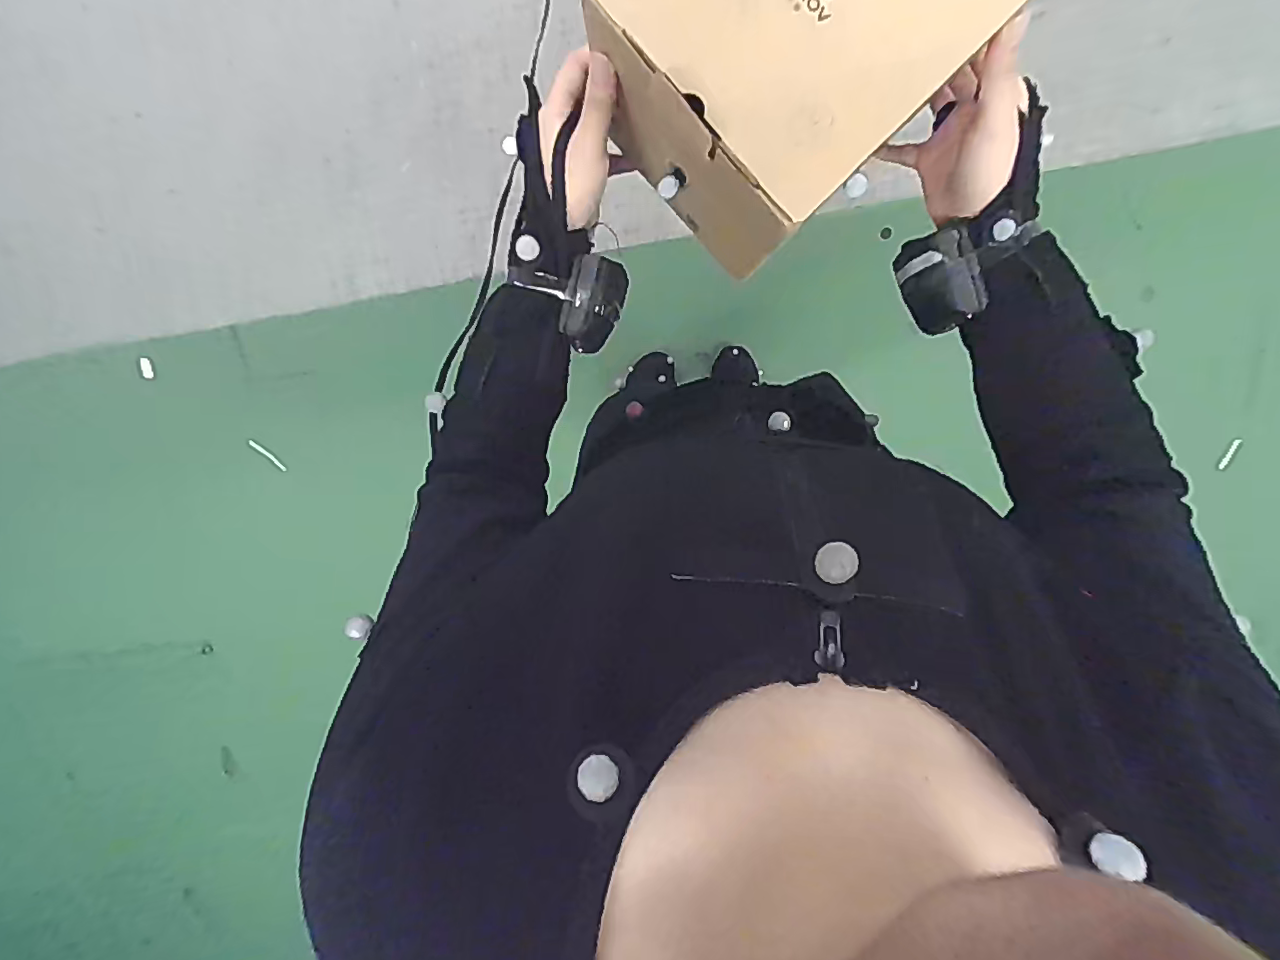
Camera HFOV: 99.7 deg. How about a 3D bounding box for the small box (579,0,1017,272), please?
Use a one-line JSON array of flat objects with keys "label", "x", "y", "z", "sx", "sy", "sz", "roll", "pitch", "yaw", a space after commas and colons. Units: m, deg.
[{"label": "small box", "x": 0.087, "y": -0.267, "z": 0.357, "sx": 0.179, "sy": 0.176, "sz": 0.168, "roll": -44, "pitch": 97, "yaw": 9}]
